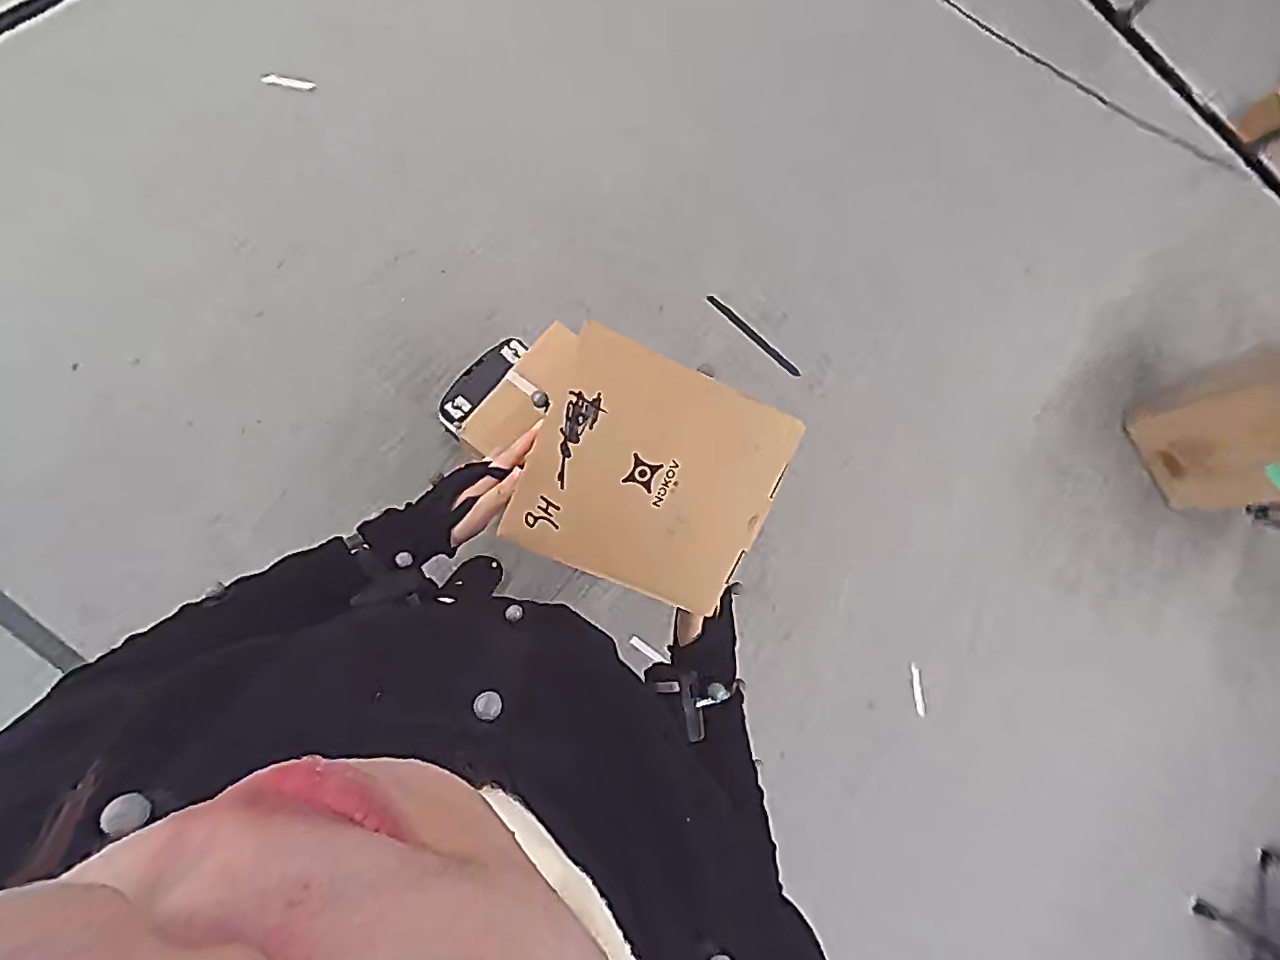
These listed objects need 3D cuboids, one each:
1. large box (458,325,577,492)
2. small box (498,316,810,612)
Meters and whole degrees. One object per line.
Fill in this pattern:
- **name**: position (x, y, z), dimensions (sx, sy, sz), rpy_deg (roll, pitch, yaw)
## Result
- **large box**: position (-0.133, -0.059, 1.220), dimensions (0.408, 0.320, 0.320), rpy_deg (38, 74, -4)
- **small box**: position (0.002, -0.020, 0.455), dimensions (0.179, 0.176, 0.168), rpy_deg (22, 97, -11)
